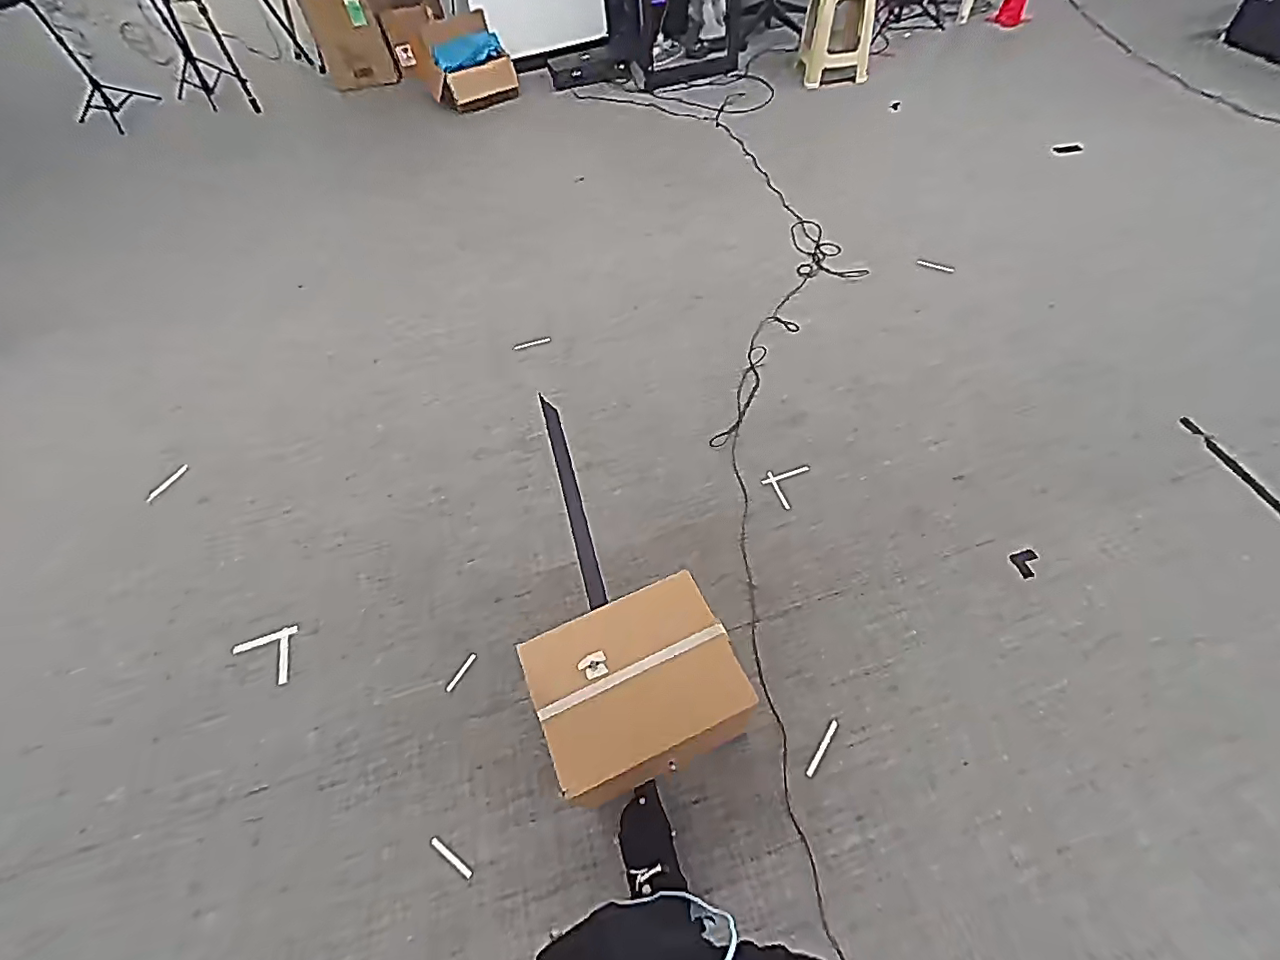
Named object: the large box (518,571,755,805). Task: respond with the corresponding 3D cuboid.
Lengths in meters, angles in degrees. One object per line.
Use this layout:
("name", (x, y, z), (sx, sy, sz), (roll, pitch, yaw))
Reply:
("large box", (-0.001, 0.469, 1.205), (0.408, 0.320, 0.320), (-23, 56, -8))
